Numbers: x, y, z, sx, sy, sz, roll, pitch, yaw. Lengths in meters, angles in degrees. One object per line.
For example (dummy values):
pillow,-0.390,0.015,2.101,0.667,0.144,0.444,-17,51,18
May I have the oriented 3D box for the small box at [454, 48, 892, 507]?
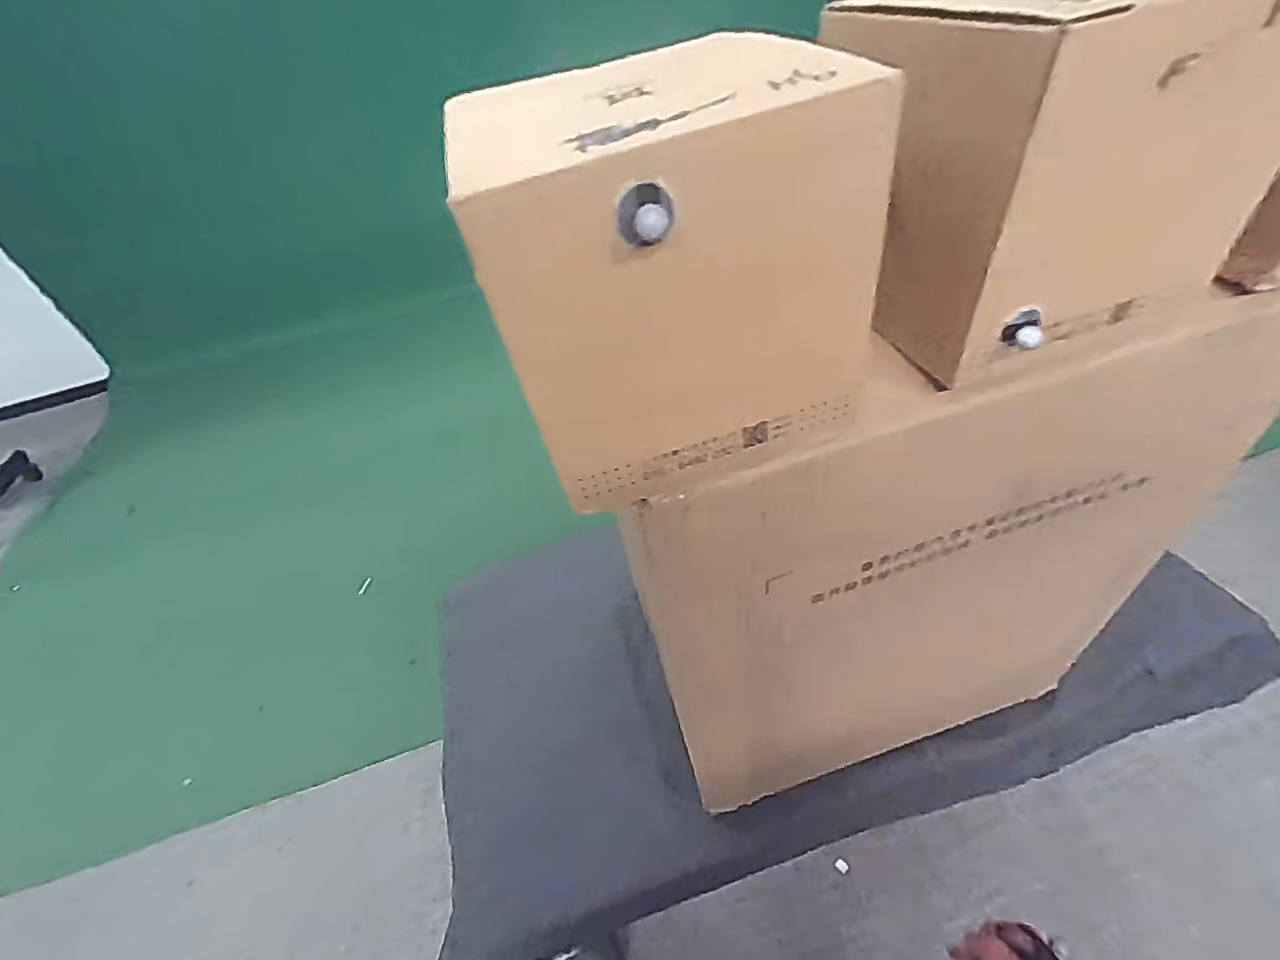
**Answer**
small box,0.010,-0.115,0.306,0.168,0.176,0.179,-18,44,-2
